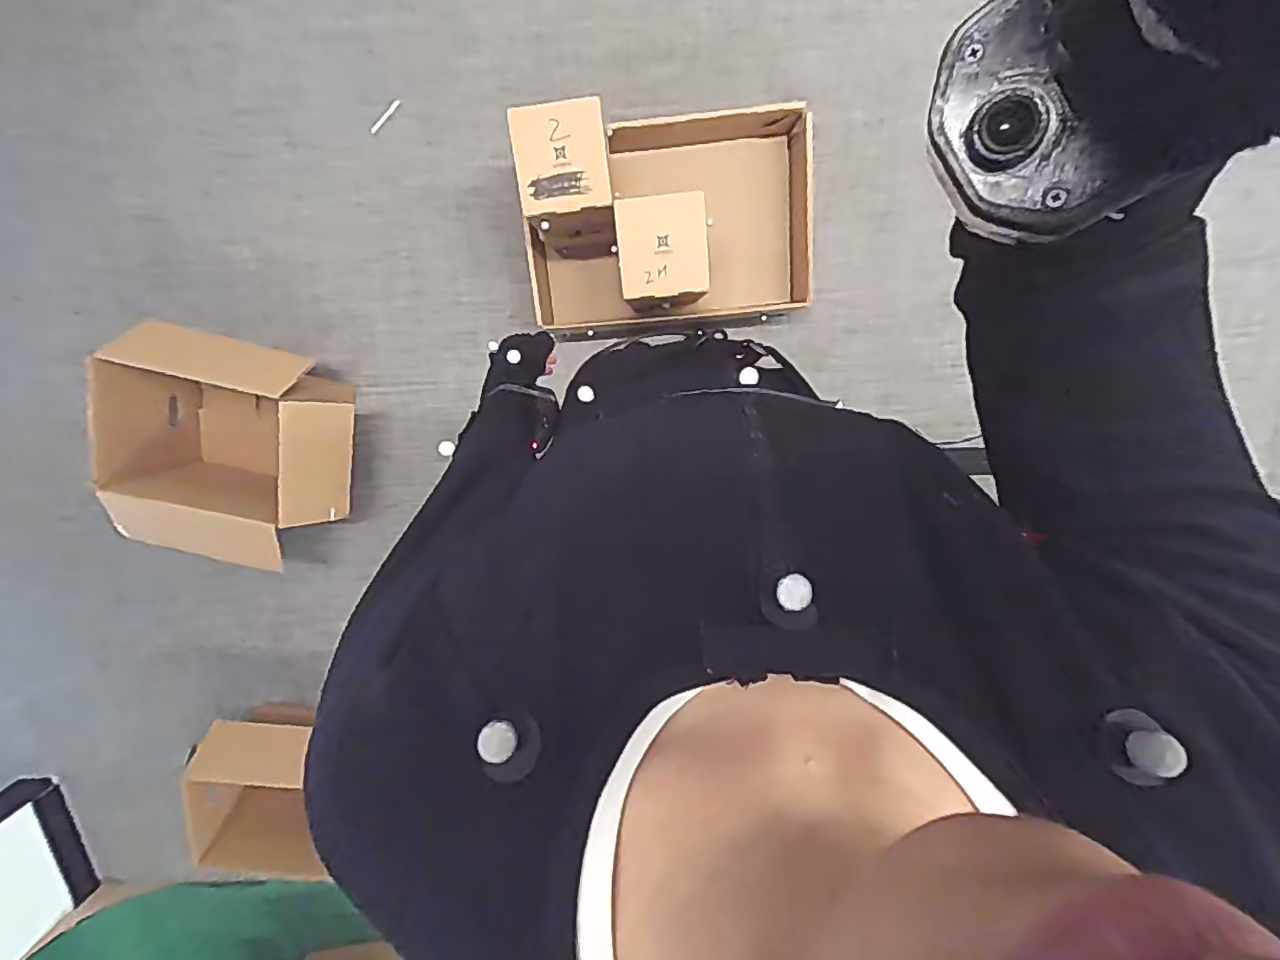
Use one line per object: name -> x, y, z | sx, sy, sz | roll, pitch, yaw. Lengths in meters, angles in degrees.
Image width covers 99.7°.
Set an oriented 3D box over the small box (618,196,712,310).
small box -> 0.047, -0.438, 1.067 | 0.168, 0.176, 0.179 | -5, 104, 3
